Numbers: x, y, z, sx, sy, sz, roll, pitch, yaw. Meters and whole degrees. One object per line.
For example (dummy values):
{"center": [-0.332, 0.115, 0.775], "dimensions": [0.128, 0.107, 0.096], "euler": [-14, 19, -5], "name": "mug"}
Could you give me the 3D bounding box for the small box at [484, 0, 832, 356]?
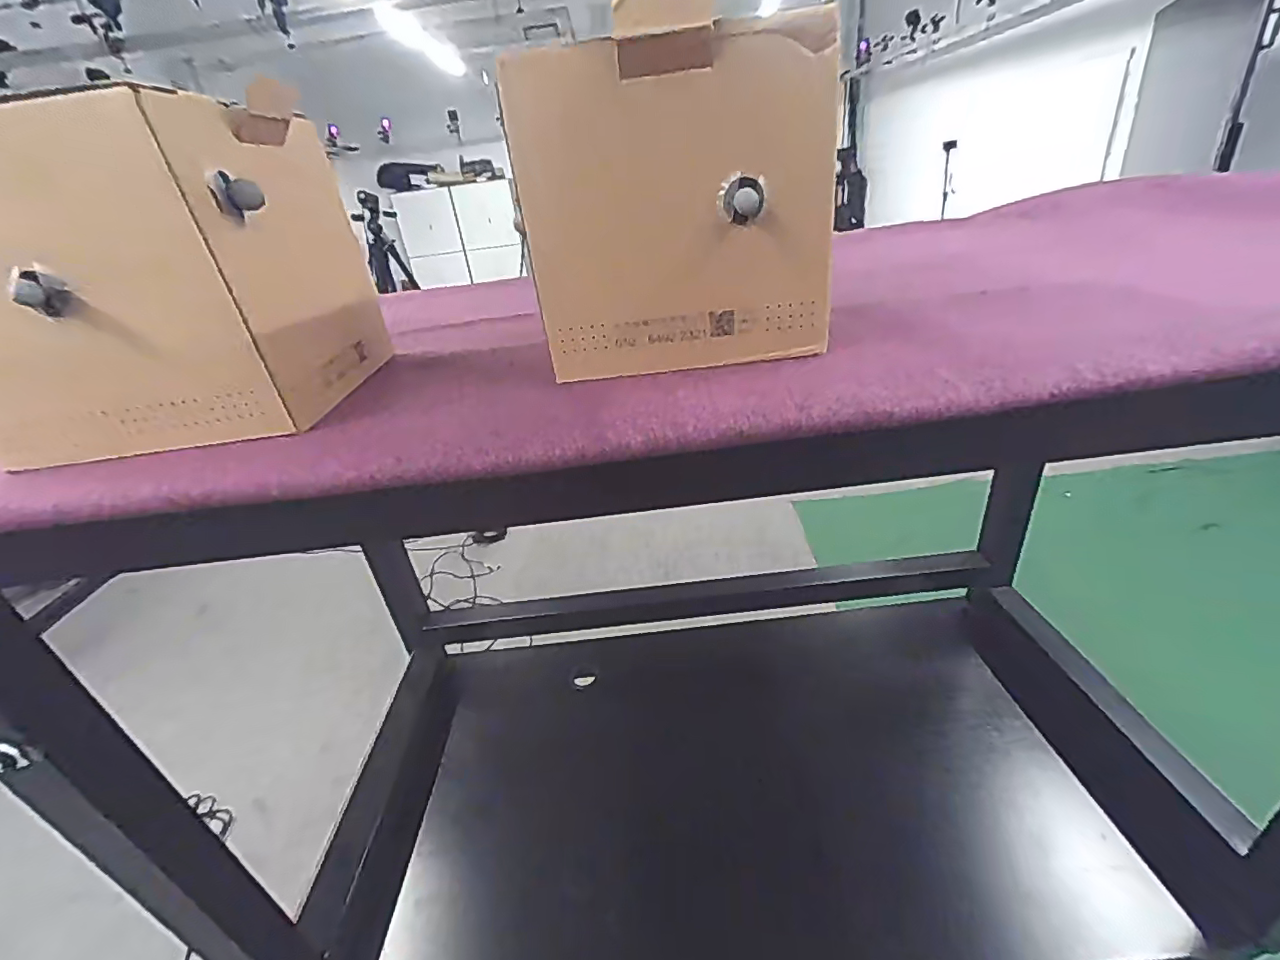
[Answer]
{"center": [0.019, -0.183, 0.354], "dimensions": [0.168, 0.176, 0.179], "euler": [-4, 28, 4], "name": "small box"}
